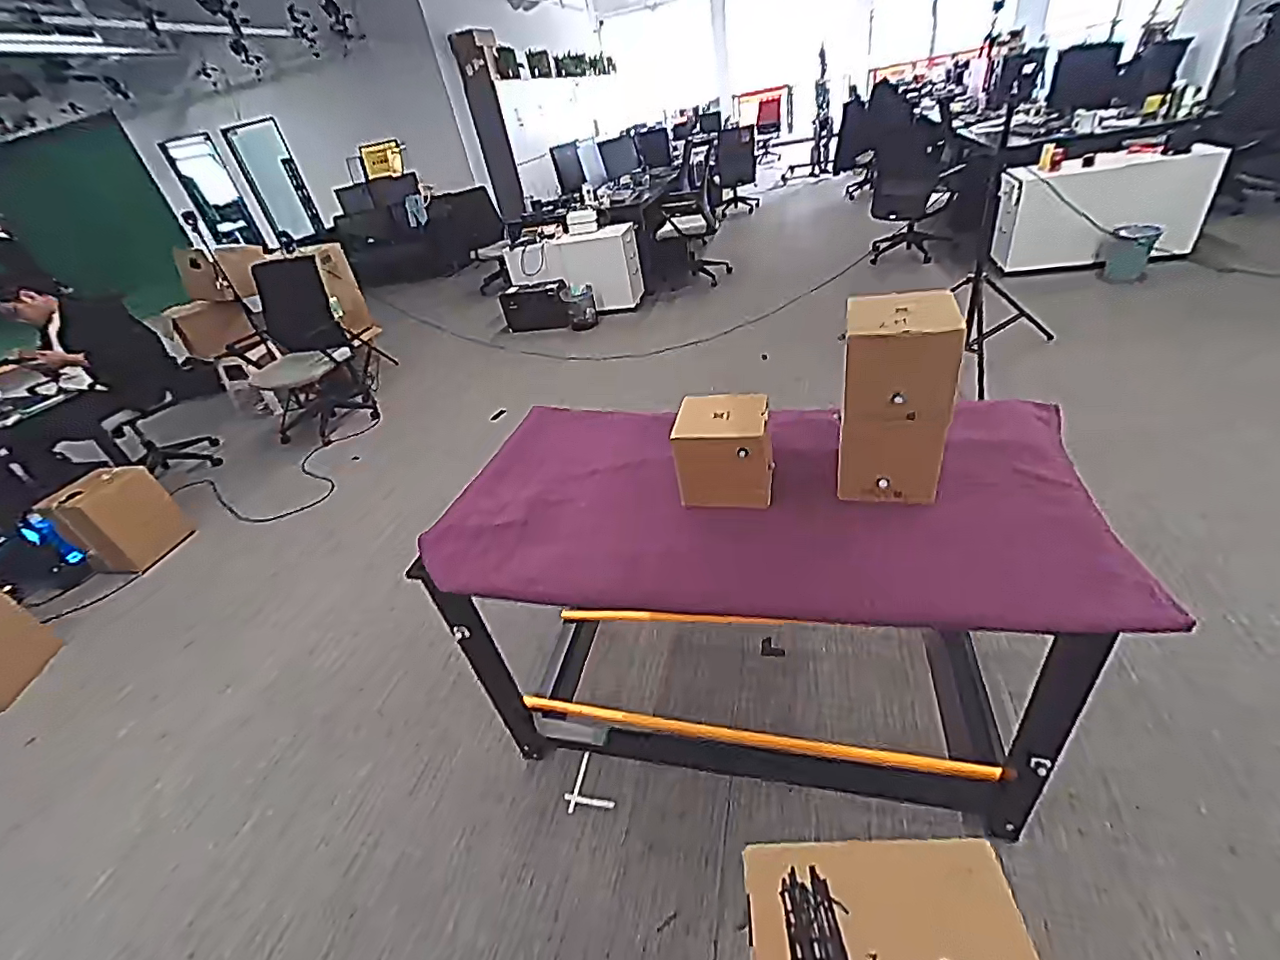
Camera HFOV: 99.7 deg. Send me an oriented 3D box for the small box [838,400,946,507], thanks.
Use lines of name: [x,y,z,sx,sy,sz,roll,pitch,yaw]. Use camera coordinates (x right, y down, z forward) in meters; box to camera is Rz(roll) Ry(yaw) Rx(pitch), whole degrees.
small box: [0.465,-0.071,1.022,0.168,0.176,0.179,2,38,20]

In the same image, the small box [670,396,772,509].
small box: [0.171,-0.054,1.090,0.179,0.176,0.168,0,36,16]

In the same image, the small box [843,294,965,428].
small box: [0.440,-0.204,0.927,0.168,0.176,0.179,1,37,20]
